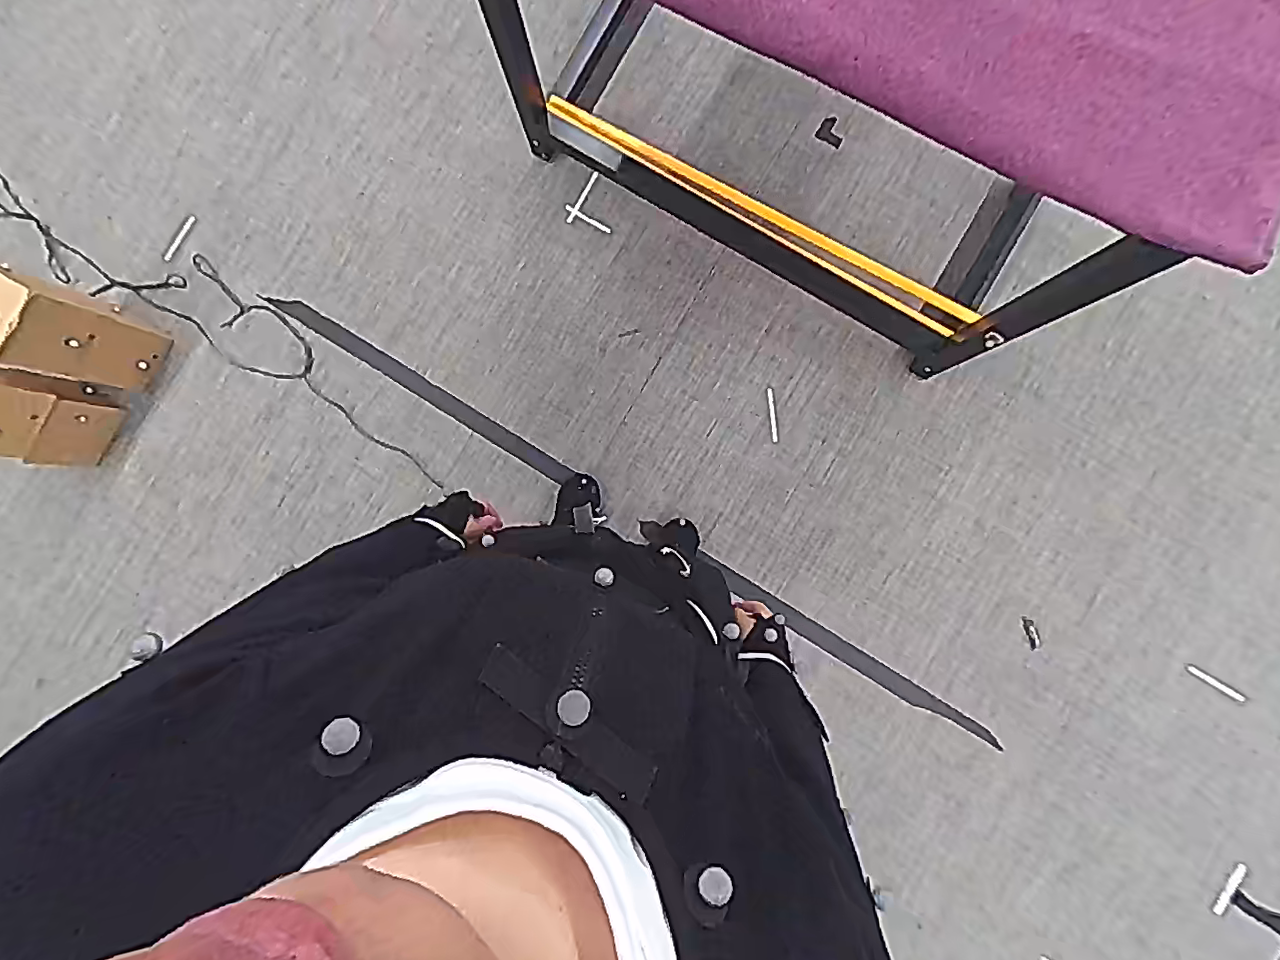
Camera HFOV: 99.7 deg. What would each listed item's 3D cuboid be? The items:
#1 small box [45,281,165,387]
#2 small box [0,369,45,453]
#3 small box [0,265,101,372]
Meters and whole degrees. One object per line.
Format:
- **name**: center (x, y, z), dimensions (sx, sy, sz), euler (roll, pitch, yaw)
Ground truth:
- **small box**: center (-1.352, -0.348, 1.333), dimensions (0.179, 0.176, 0.168), euler (31, 89, 1)
- **small box**: center (-1.472, -0.165, 1.167), dimensions (0.179, 0.176, 0.168), euler (26, 89, 2)
- **small box**: center (-1.353, -0.354, 1.168), dimensions (0.179, 0.176, 0.168), euler (29, 89, 1)
